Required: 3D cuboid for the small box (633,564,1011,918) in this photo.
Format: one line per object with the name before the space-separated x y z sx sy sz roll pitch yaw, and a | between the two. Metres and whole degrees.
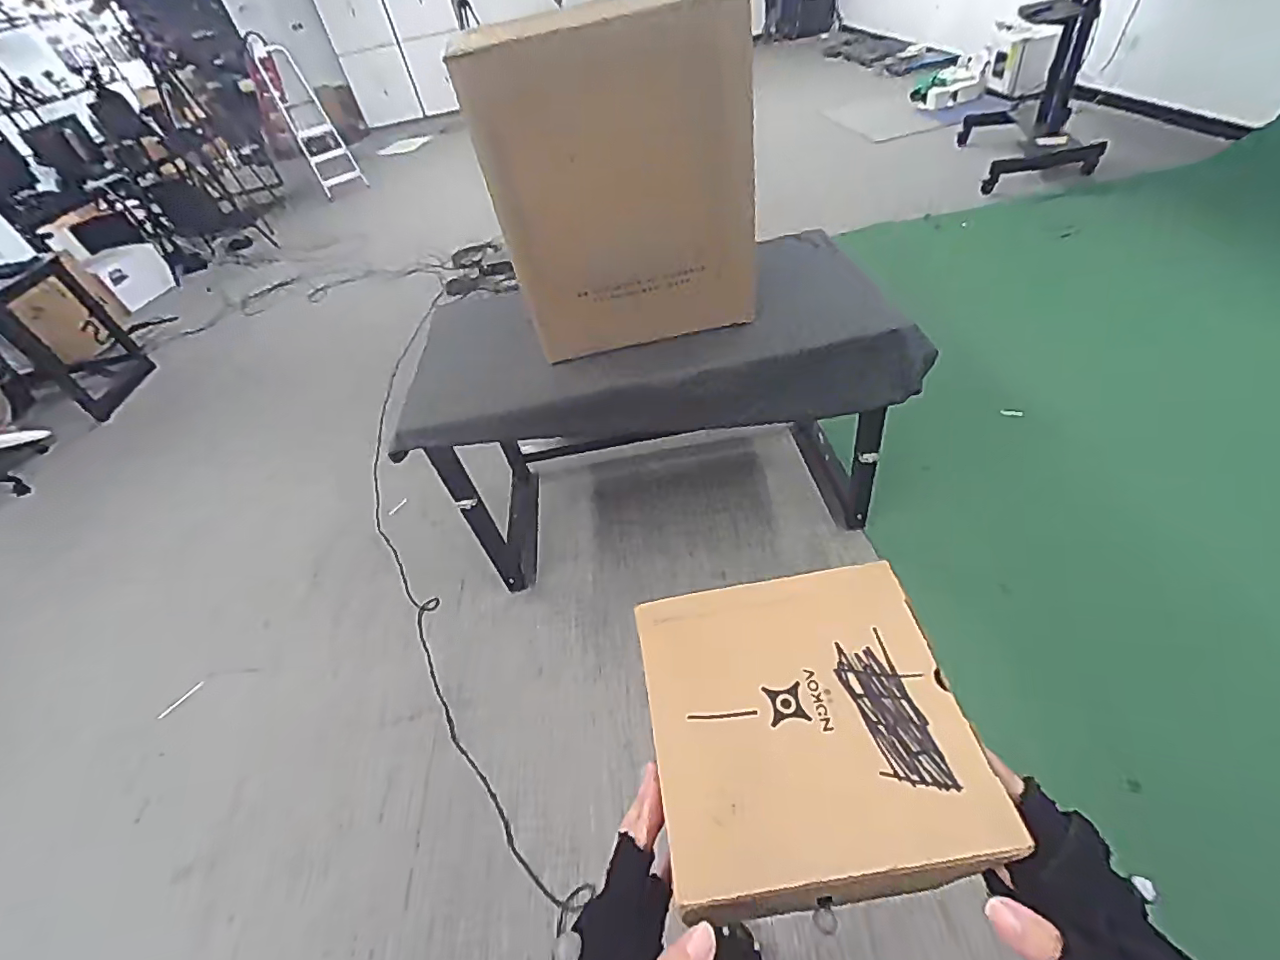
small box | 0.097 0.184 0.379 0.179 0.176 0.168 -10 48 -4
